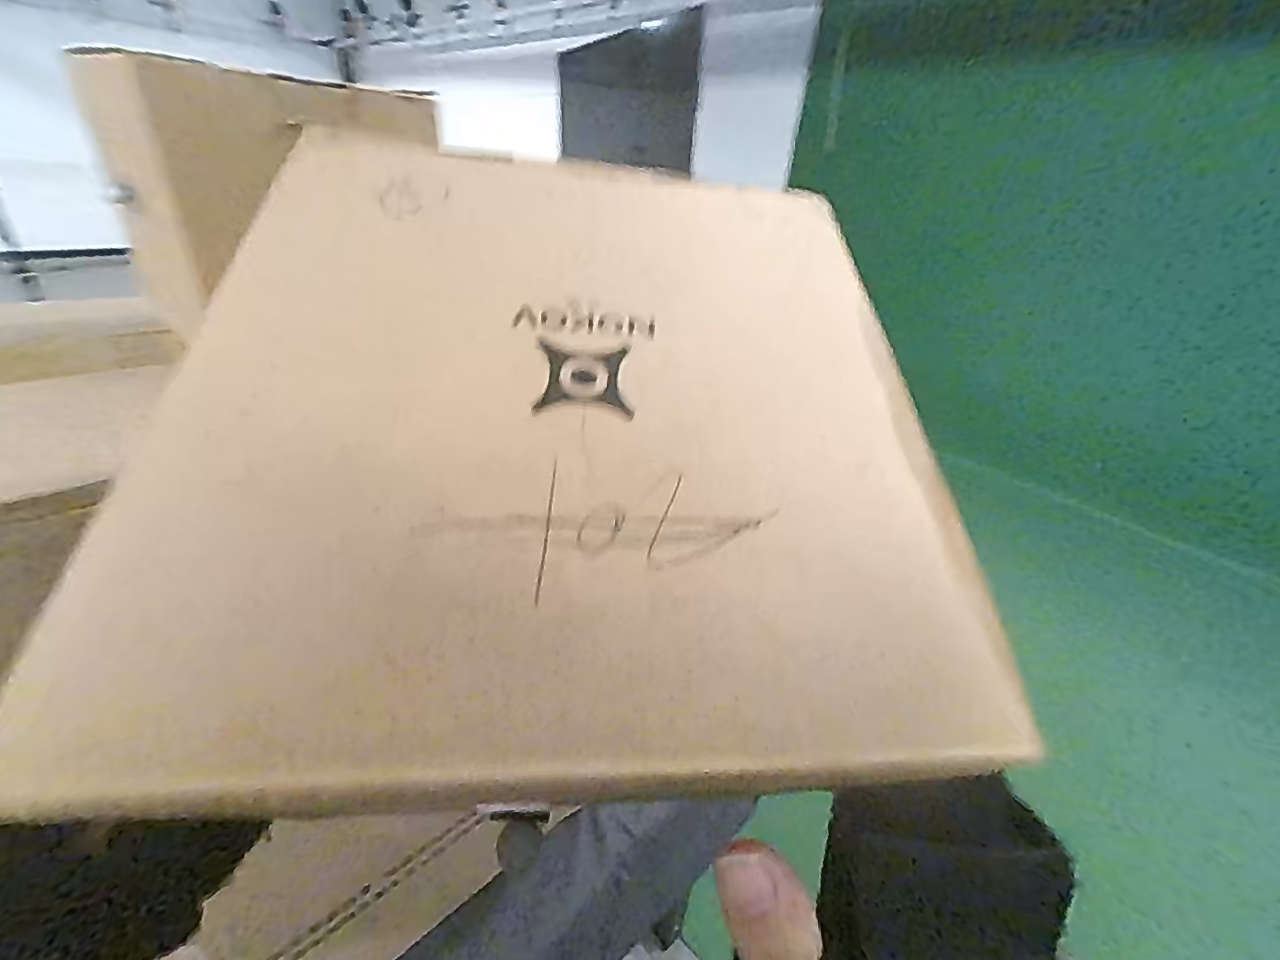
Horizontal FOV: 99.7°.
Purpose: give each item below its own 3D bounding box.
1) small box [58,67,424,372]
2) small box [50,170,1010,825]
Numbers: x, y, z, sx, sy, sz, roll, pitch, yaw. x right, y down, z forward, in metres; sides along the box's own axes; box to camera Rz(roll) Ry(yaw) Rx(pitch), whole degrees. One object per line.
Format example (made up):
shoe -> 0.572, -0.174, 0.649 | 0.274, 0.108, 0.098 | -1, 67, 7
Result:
small box -> -0.267, -0.189, 0.401 | 0.179, 0.176, 0.168 | 27, 38, 32
small box -> -0.024, 0.022, 0.202 | 0.168, 0.176, 0.179 | 1, 59, -8
